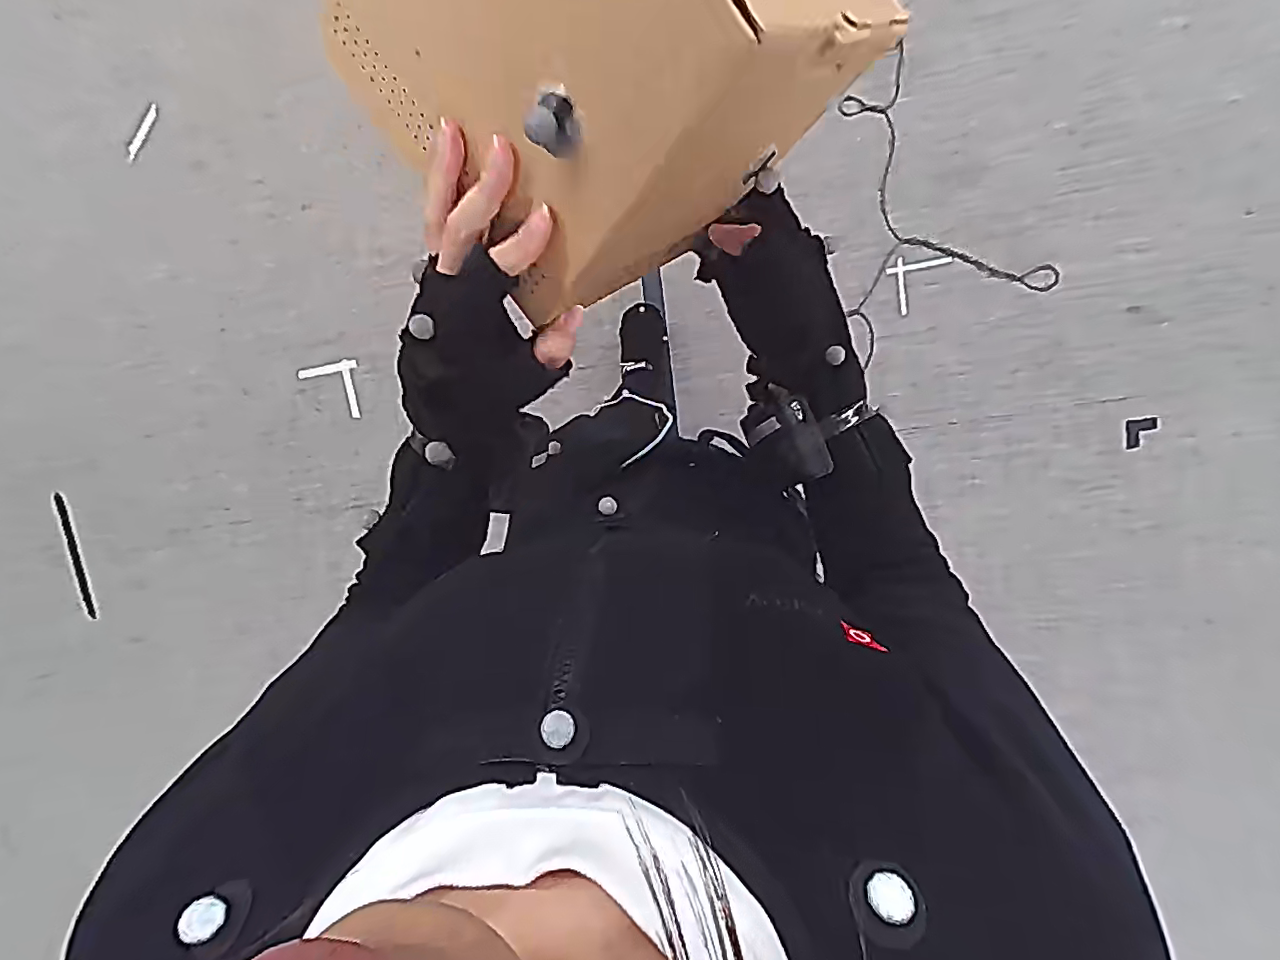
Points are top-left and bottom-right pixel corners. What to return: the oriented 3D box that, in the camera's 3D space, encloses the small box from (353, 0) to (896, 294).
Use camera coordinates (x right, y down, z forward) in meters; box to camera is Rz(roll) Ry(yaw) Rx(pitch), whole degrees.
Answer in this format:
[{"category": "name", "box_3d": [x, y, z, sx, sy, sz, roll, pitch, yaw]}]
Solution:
[{"category": "small box", "box_3d": [-0.012, -0.222, 0.277, 0.179, 0.168, 0.176, 52, 142, -8]}]
